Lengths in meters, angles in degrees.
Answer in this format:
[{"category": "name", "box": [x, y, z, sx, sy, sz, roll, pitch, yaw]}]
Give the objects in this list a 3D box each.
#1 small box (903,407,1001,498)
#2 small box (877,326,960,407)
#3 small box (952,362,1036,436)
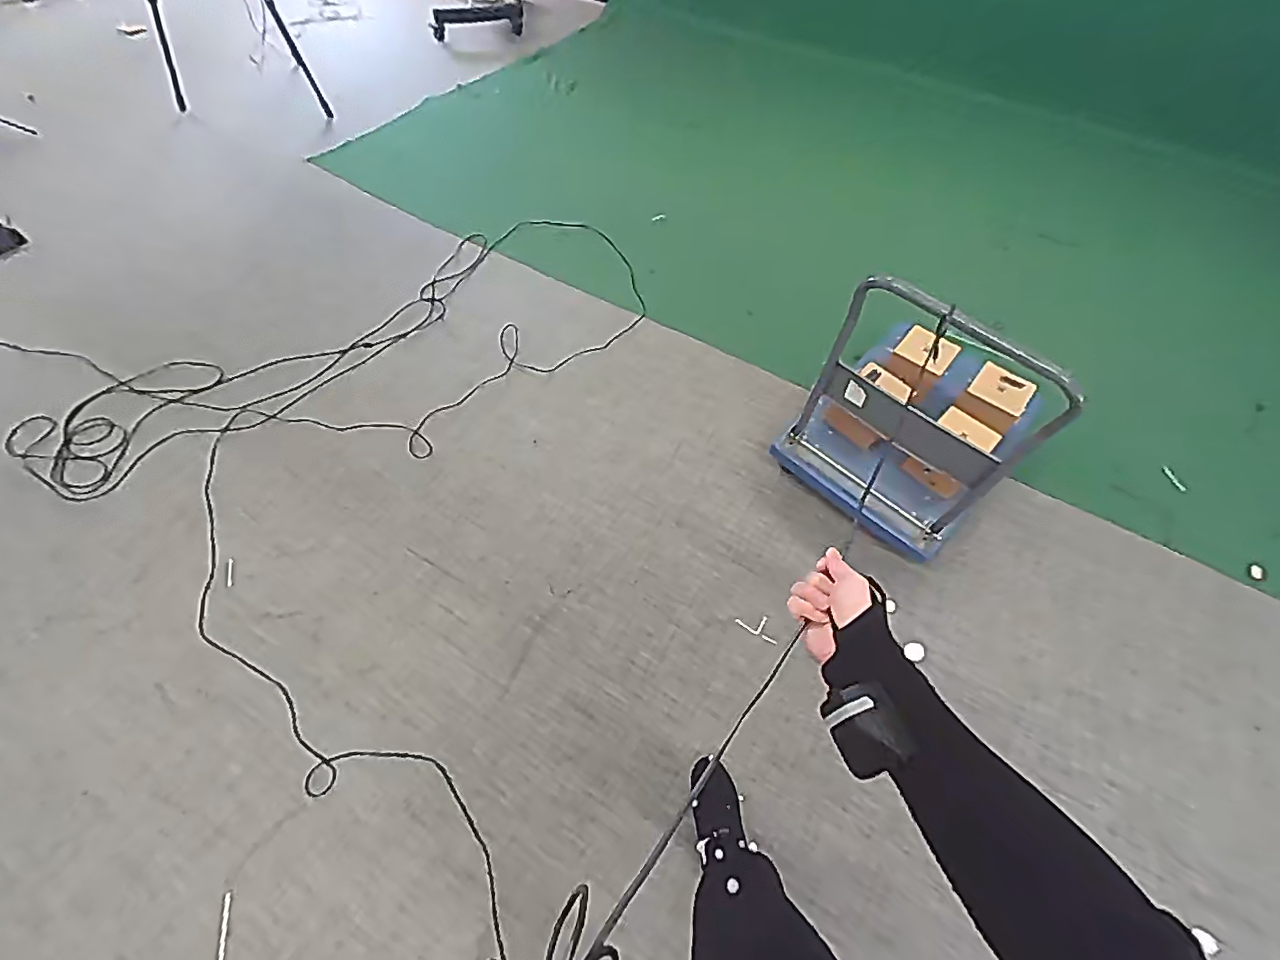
[{"category": "small box", "box": [0.941, -0.082, 1.647, 0.179, 0.176, 0.168, -39, 67, -24]}, {"category": "small box", "box": [0.938, -0.382, 1.840, 0.168, 0.176, 0.179, 37, 63, 19]}, {"category": "small box", "box": [1.130, -0.241, 1.758, 0.168, 0.176, 0.179, 36, 63, 20]}]
